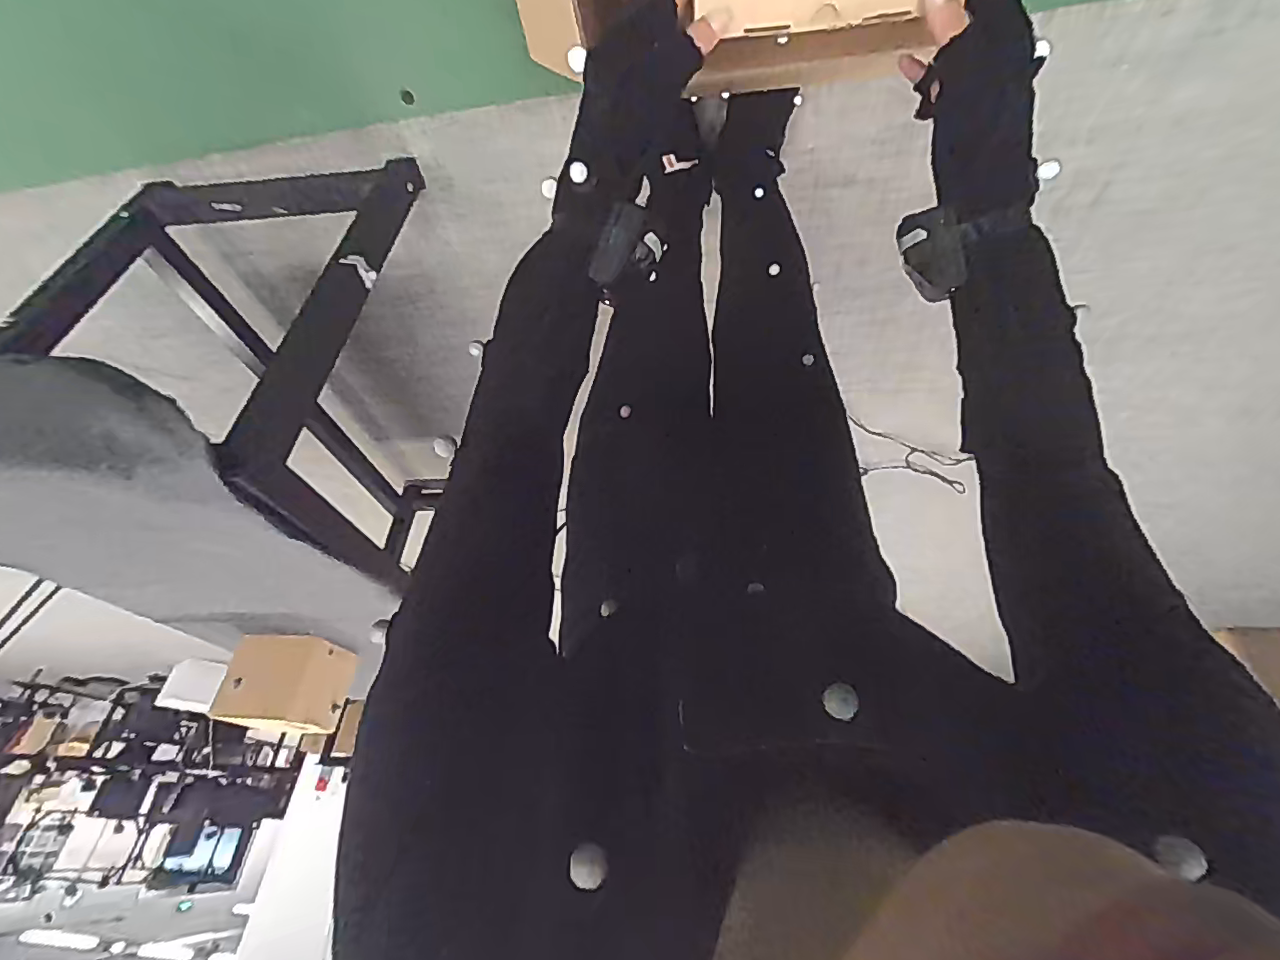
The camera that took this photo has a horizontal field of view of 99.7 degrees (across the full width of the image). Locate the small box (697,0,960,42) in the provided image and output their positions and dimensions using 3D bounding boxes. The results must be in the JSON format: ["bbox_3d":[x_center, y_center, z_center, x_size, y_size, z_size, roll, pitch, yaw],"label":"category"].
[{"bbox_3d":[0.118,-0.410,0.354,0.168,0.176,0.179,-1,133,7],"label":"small box"}]
